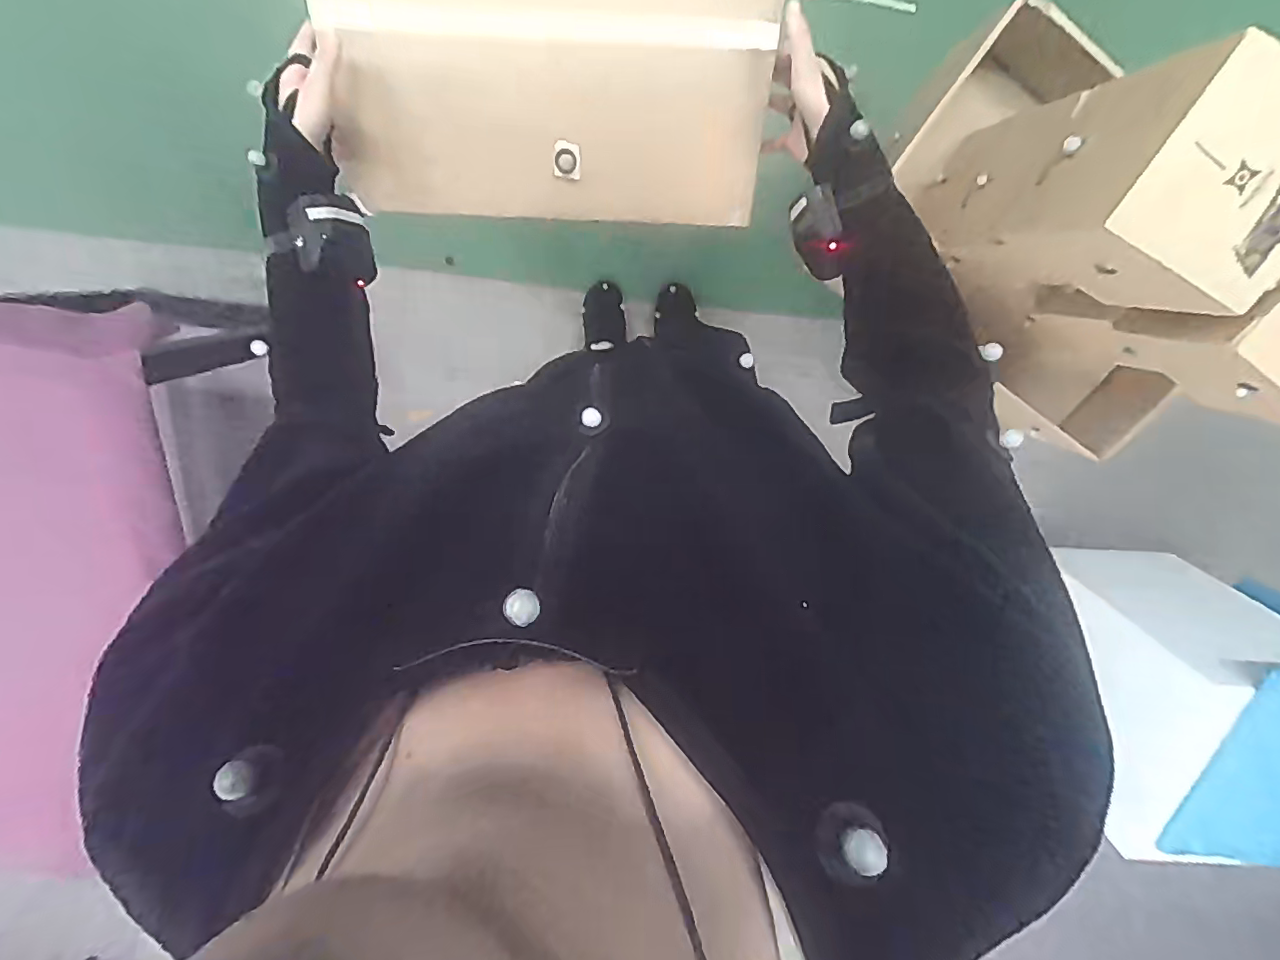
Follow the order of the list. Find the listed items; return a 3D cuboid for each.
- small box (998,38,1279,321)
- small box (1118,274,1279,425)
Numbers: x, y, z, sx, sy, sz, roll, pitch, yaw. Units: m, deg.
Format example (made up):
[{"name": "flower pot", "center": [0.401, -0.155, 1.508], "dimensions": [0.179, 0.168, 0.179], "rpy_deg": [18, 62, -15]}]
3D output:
[{"name": "small box", "center": [0.523, -0.281, 0.544], "dimensions": [0.179, 0.176, 0.168], "rpy_deg": [26, 109, -7]}, {"name": "small box", "center": [0.694, -0.169, 0.585], "dimensions": [0.179, 0.176, 0.168], "rpy_deg": [33, 109, -7]}]
